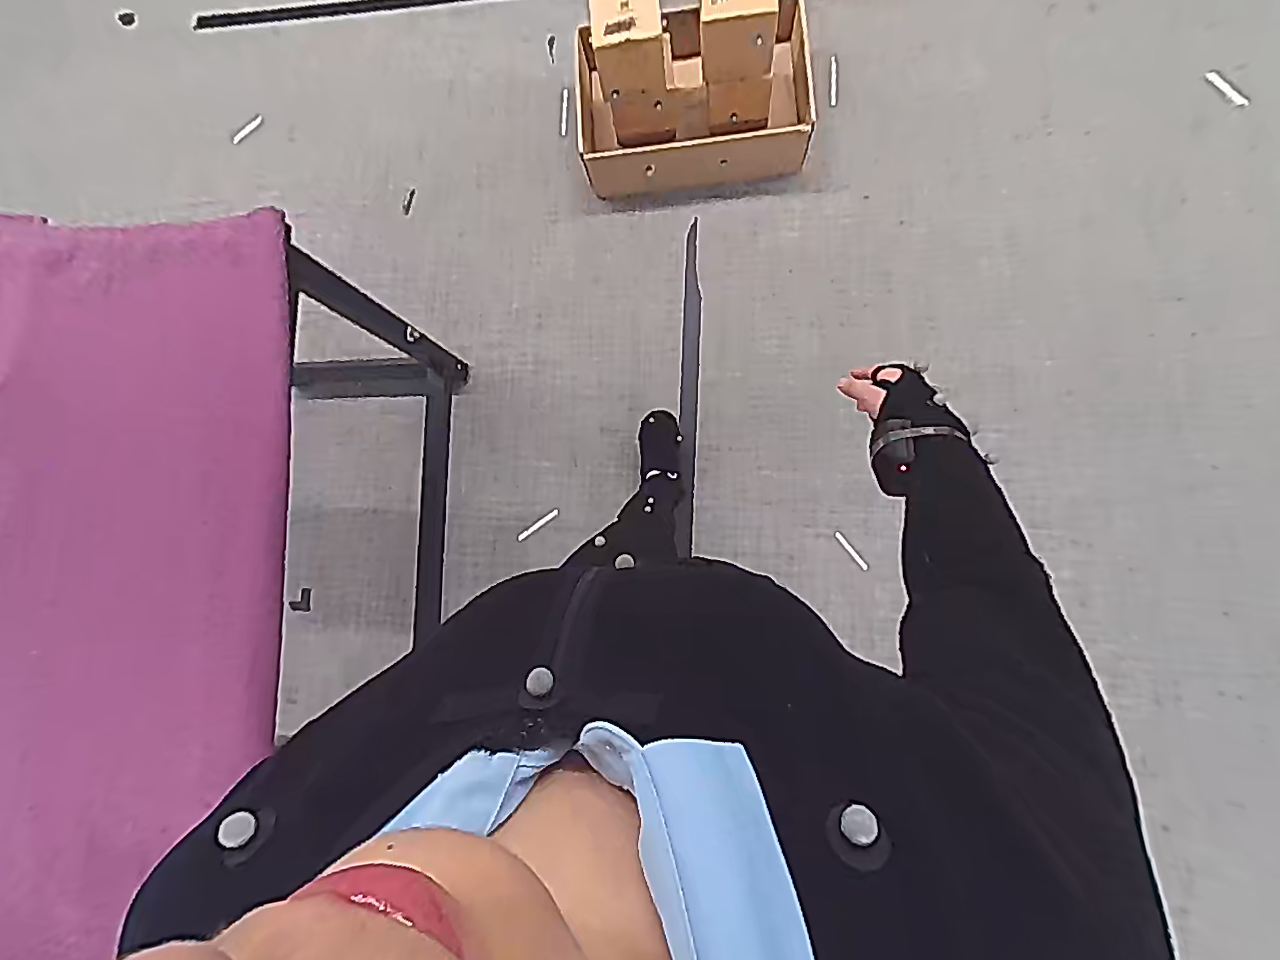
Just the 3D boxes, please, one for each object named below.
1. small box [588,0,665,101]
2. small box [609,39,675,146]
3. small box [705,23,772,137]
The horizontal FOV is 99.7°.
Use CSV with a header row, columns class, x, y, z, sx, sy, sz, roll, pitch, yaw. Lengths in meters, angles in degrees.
class,x,y,z,sx,sy,sz,roll,pitch,yaw
small box,-0.029,-1.077,1.337,0.168,0.176,0.179,-6,82,5
small box,0.005,-1.066,1.499,0.179,0.176,0.168,-5,82,5
small box,0.262,-1.082,1.473,0.168,0.176,0.179,-4,83,8
